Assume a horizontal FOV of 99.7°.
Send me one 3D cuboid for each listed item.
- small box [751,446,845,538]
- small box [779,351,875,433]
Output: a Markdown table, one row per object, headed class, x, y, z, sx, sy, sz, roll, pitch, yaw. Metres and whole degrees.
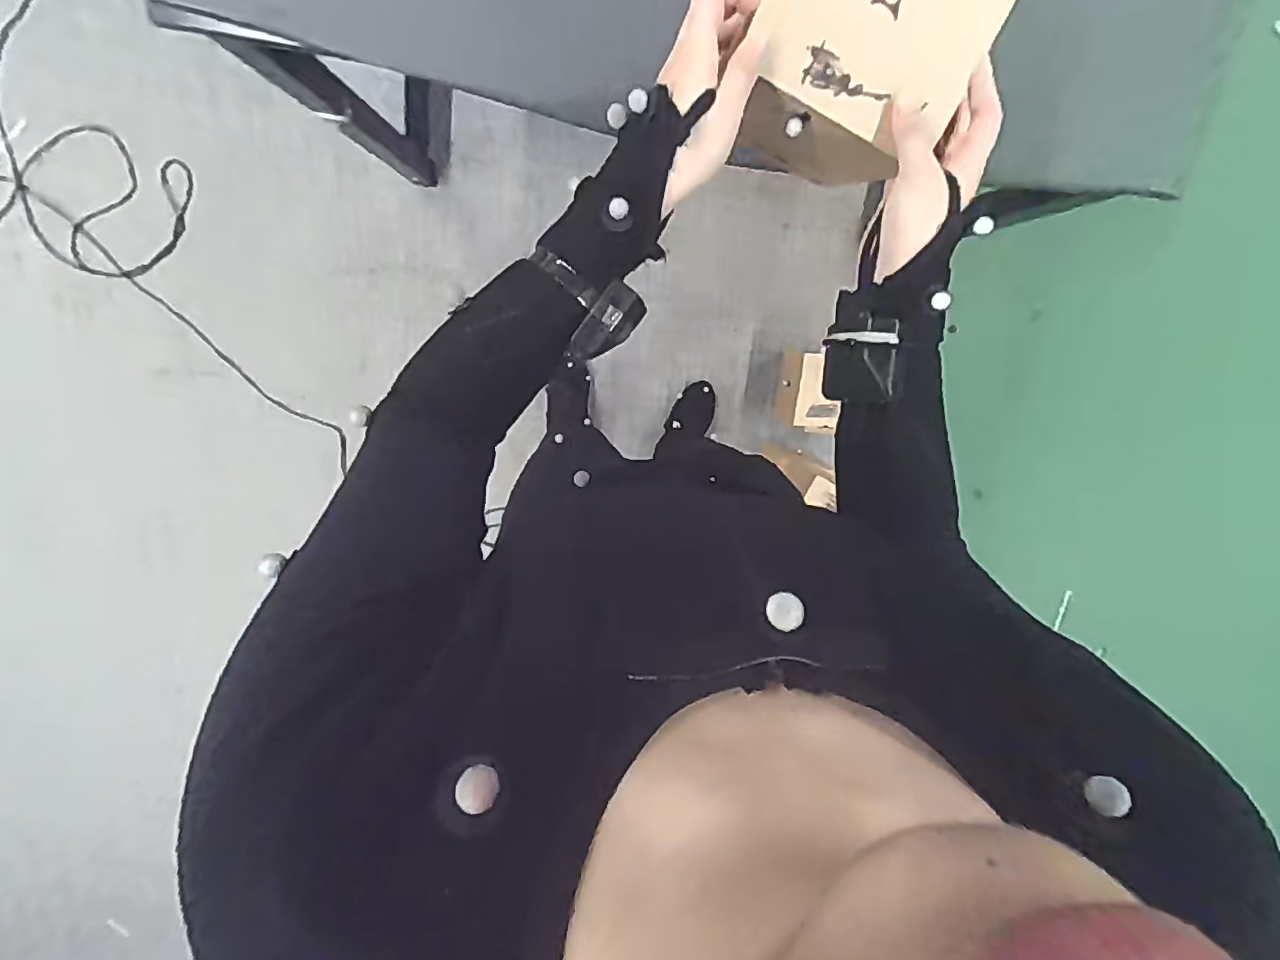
| class | x | y | z | sx | sy | sz | roll | pitch | yaw |
| --- | --- | --- | --- | --- | --- | --- | --- | --- | --- |
| small box | 0.406 | 0.026 | 1.427 | 0.168 | 0.176 | 0.179 | 15 | 104 | -6 |
| small box | 0.461 | -0.225 | 1.360 | 0.168 | 0.176 | 0.179 | 5 | 104 | -4 |
